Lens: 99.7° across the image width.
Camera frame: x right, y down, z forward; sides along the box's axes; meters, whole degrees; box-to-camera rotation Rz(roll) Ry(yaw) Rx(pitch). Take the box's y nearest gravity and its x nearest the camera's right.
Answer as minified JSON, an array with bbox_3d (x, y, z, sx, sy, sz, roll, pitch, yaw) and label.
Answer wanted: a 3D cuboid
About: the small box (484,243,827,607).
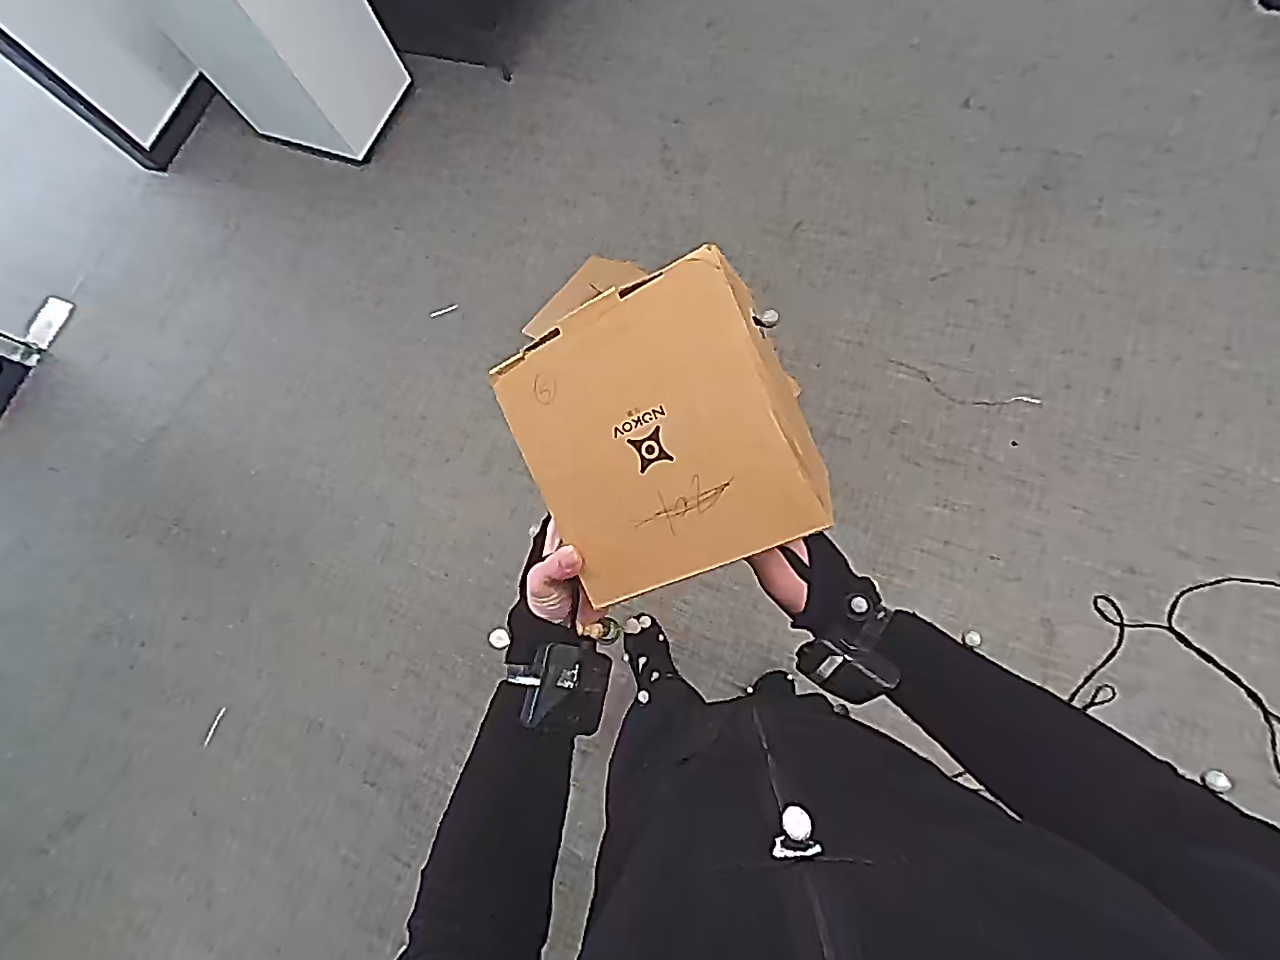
[{"bbox_3d":[0.026,-0.035,0.394,0.168,0.176,0.179,-21,92,22],"label":"small box"}]
